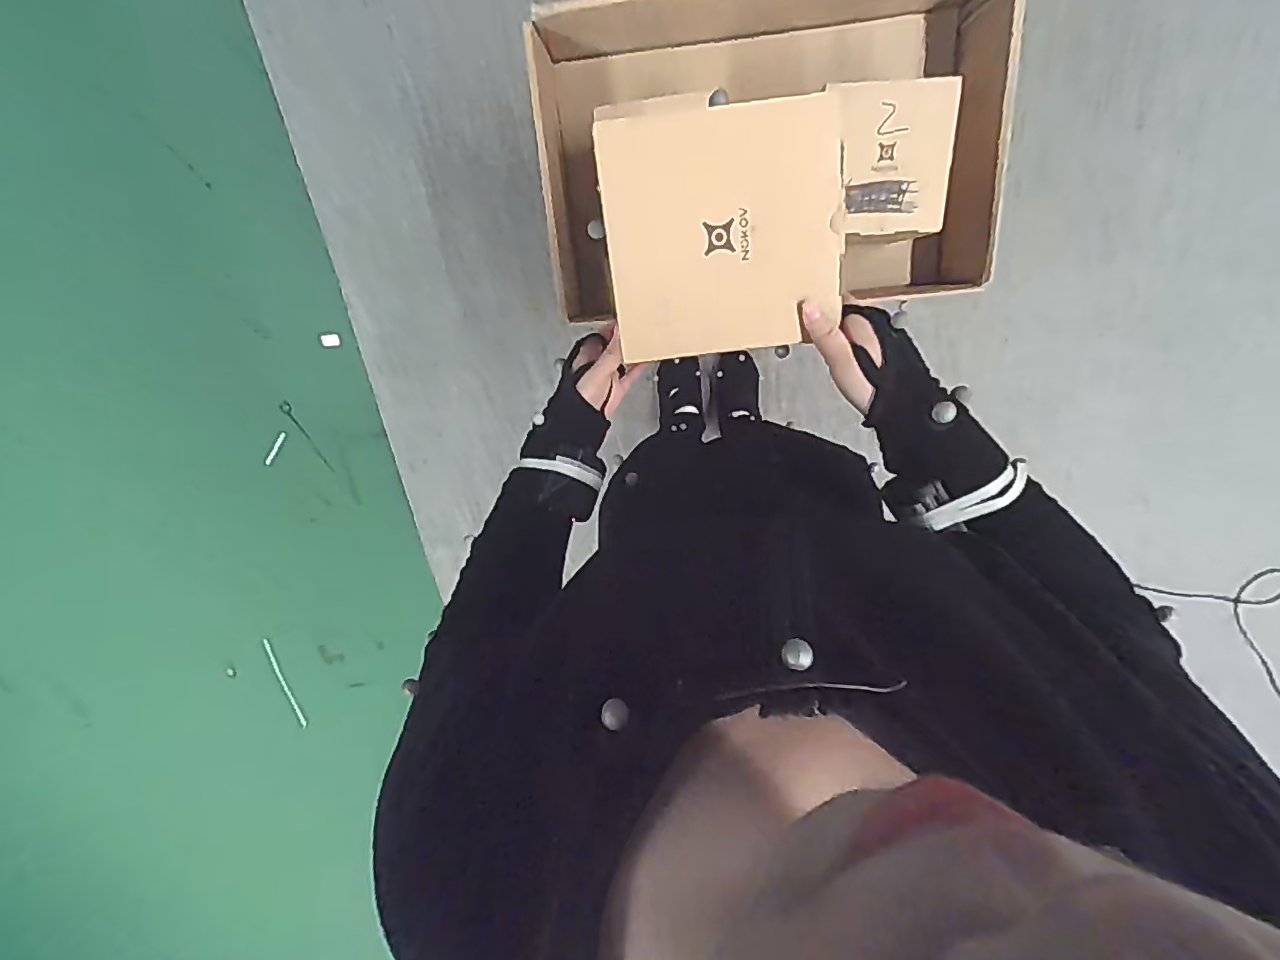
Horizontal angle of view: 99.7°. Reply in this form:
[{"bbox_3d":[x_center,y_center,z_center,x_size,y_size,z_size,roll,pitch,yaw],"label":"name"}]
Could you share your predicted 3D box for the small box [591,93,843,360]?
[{"bbox_3d":[0.058,-0.205,0.470,0.179,0.176,0.168,-8,111,-1],"label":"small box"}]
